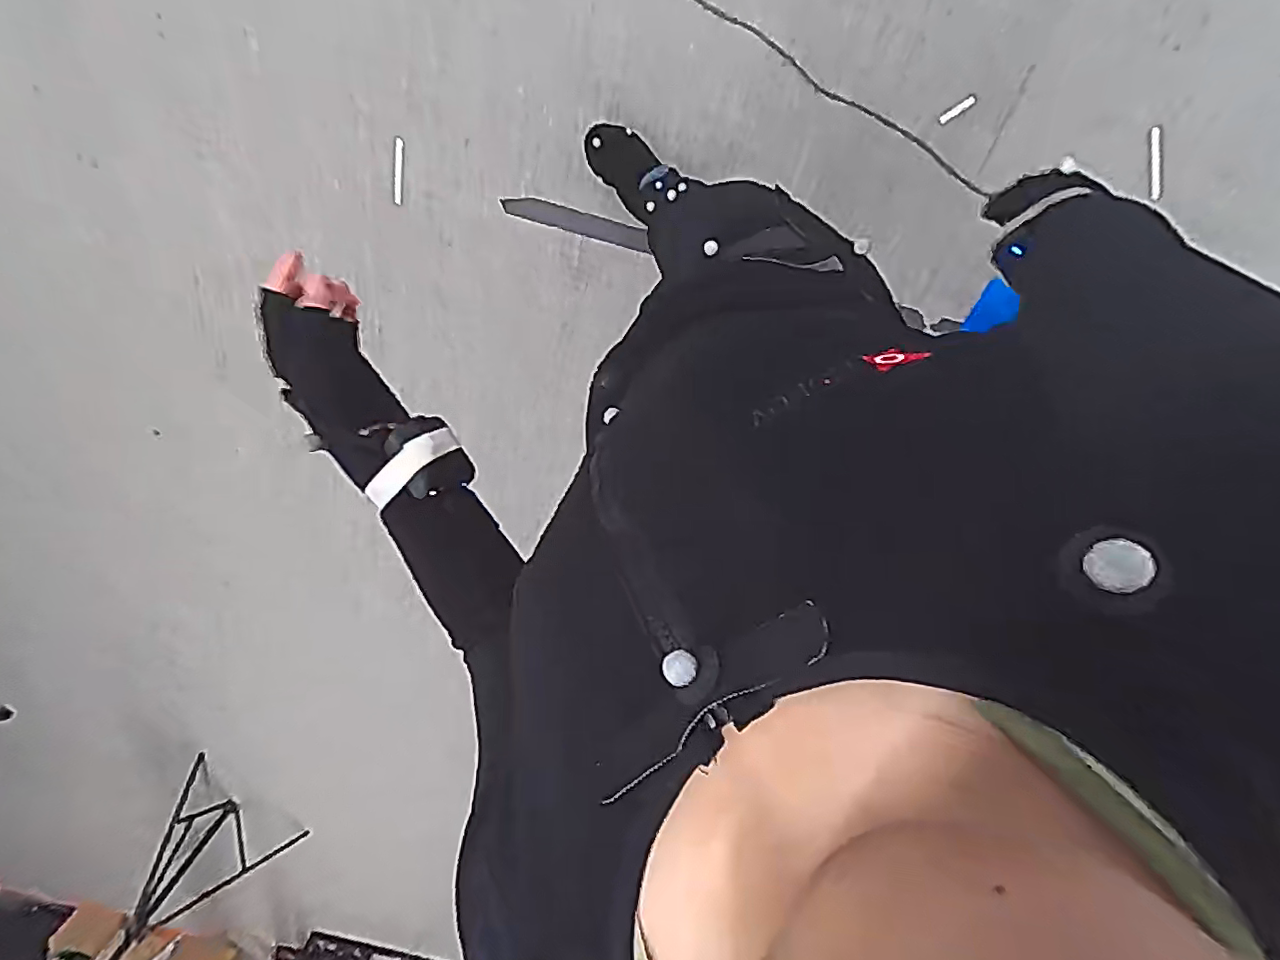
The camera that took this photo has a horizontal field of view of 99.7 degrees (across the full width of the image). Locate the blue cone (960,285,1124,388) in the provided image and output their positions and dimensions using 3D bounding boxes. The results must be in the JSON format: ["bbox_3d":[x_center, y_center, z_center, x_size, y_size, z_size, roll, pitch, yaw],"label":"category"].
[{"bbox_3d":[0.850,-0.268,1.119,0.192,0.380,0.193,18,119,-2],"label":"blue cone"}]
